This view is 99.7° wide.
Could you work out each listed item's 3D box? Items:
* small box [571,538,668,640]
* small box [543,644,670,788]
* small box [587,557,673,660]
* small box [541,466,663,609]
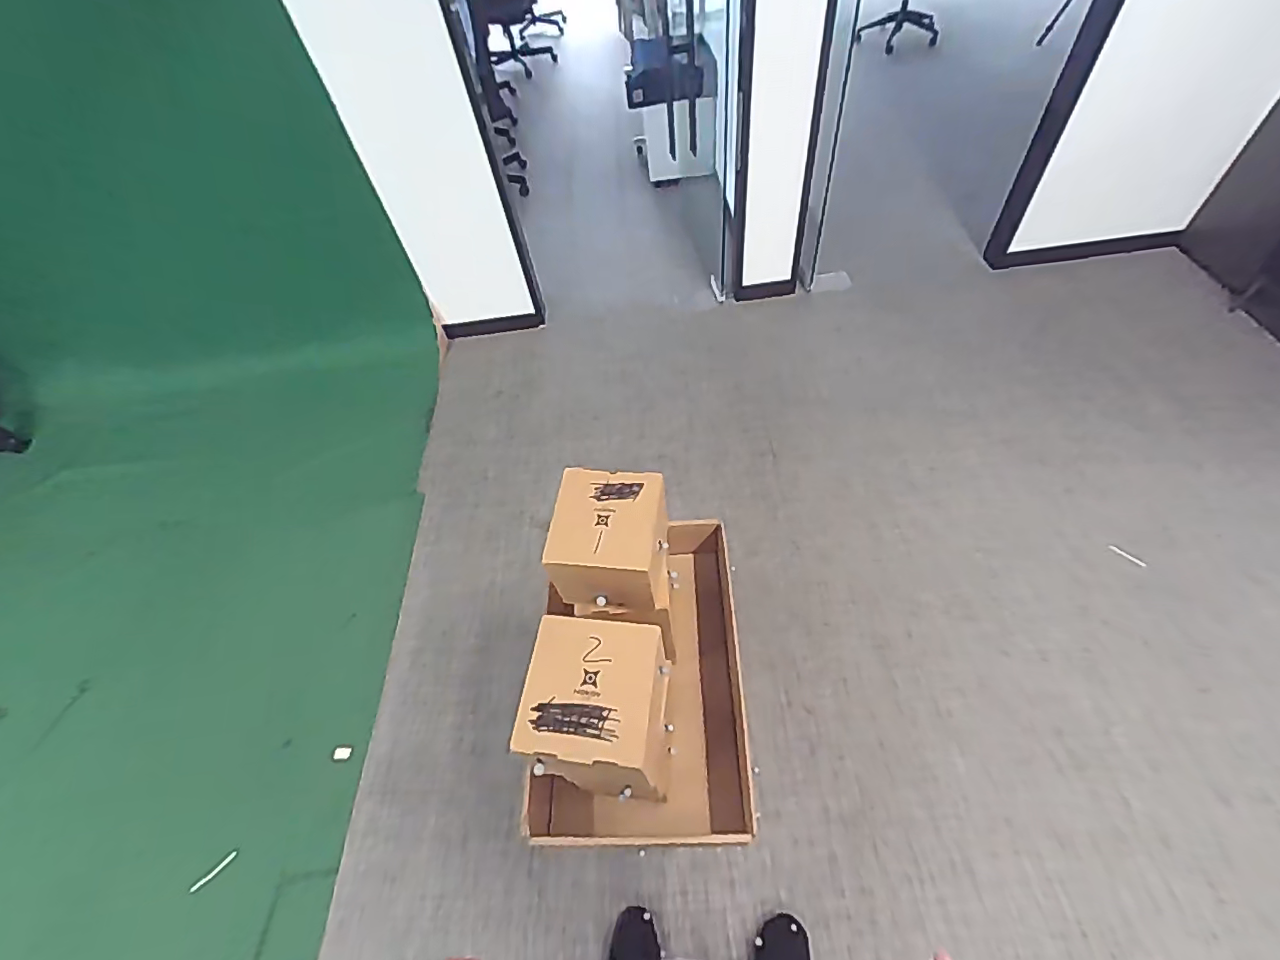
[{"bbox_3d":[-0.034,0.194,1.043,0.168,0.176,0.179,-4,56,3],"label":"small box"},{"bbox_3d":[-0.043,0.394,0.895,0.168,0.176,0.179,5,54,10],"label":"small box"},{"bbox_3d":[-0.017,0.284,1.176,0.168,0.176,0.179,-4,56,5],"label":"small box"},{"bbox_3d":[-0.053,0.098,0.911,0.168,0.176,0.179,3,57,9],"label":"small box"}]
